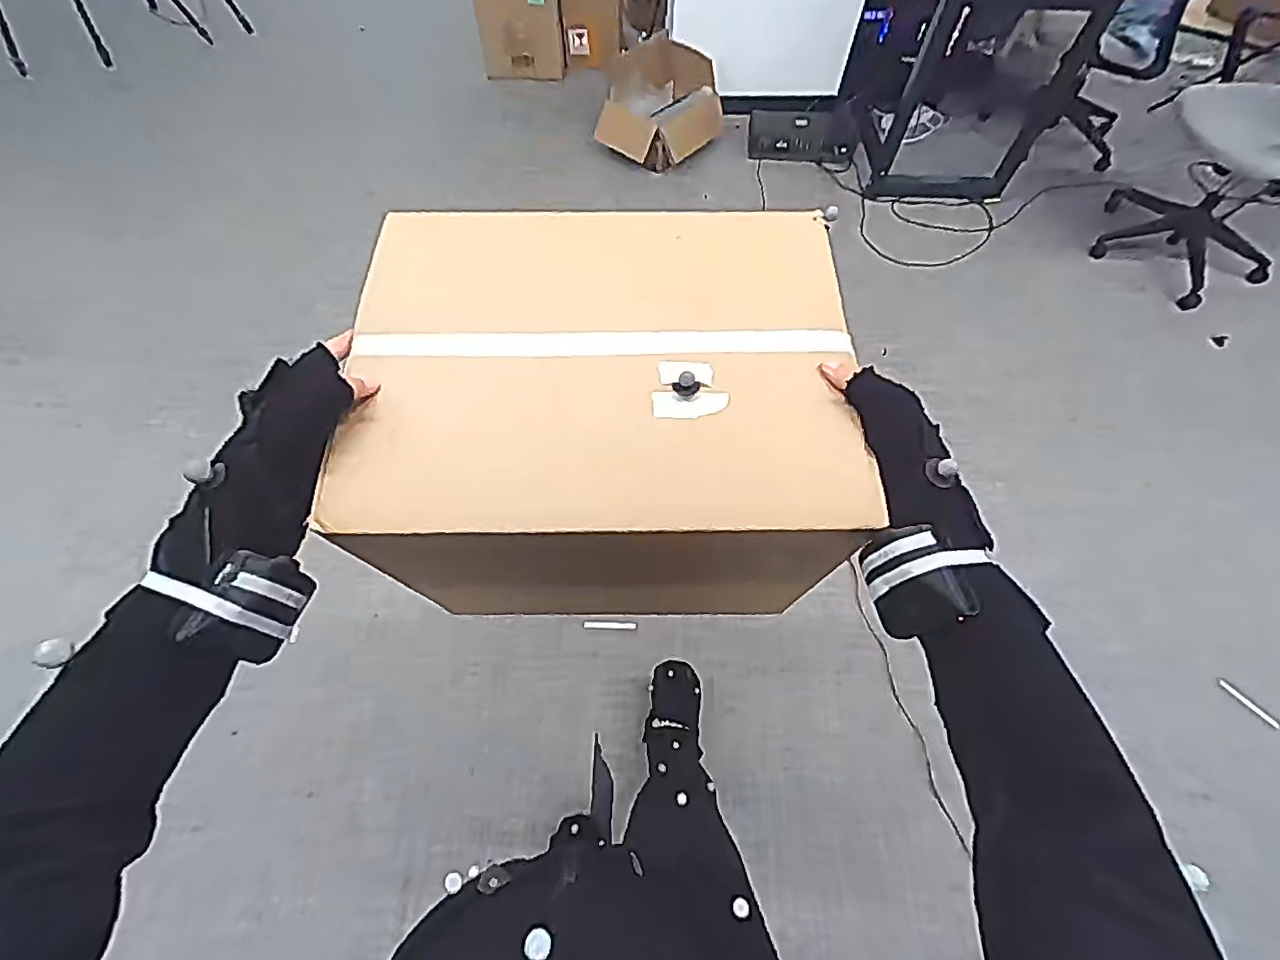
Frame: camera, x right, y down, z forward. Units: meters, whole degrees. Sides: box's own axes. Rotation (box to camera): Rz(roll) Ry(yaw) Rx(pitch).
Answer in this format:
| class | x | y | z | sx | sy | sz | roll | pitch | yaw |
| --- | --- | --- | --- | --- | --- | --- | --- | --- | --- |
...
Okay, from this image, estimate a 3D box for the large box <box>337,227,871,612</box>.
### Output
| class | x | y | z | sx | sy | sz | roll | pitch | yaw |
| --- | --- | --- | --- | --- | --- | --- | --- | --- | --- |
| large box | -0.030 | -0.043 | 0.593 | 0.408 | 0.320 | 0.320 | 0 | 66 | 0 |
